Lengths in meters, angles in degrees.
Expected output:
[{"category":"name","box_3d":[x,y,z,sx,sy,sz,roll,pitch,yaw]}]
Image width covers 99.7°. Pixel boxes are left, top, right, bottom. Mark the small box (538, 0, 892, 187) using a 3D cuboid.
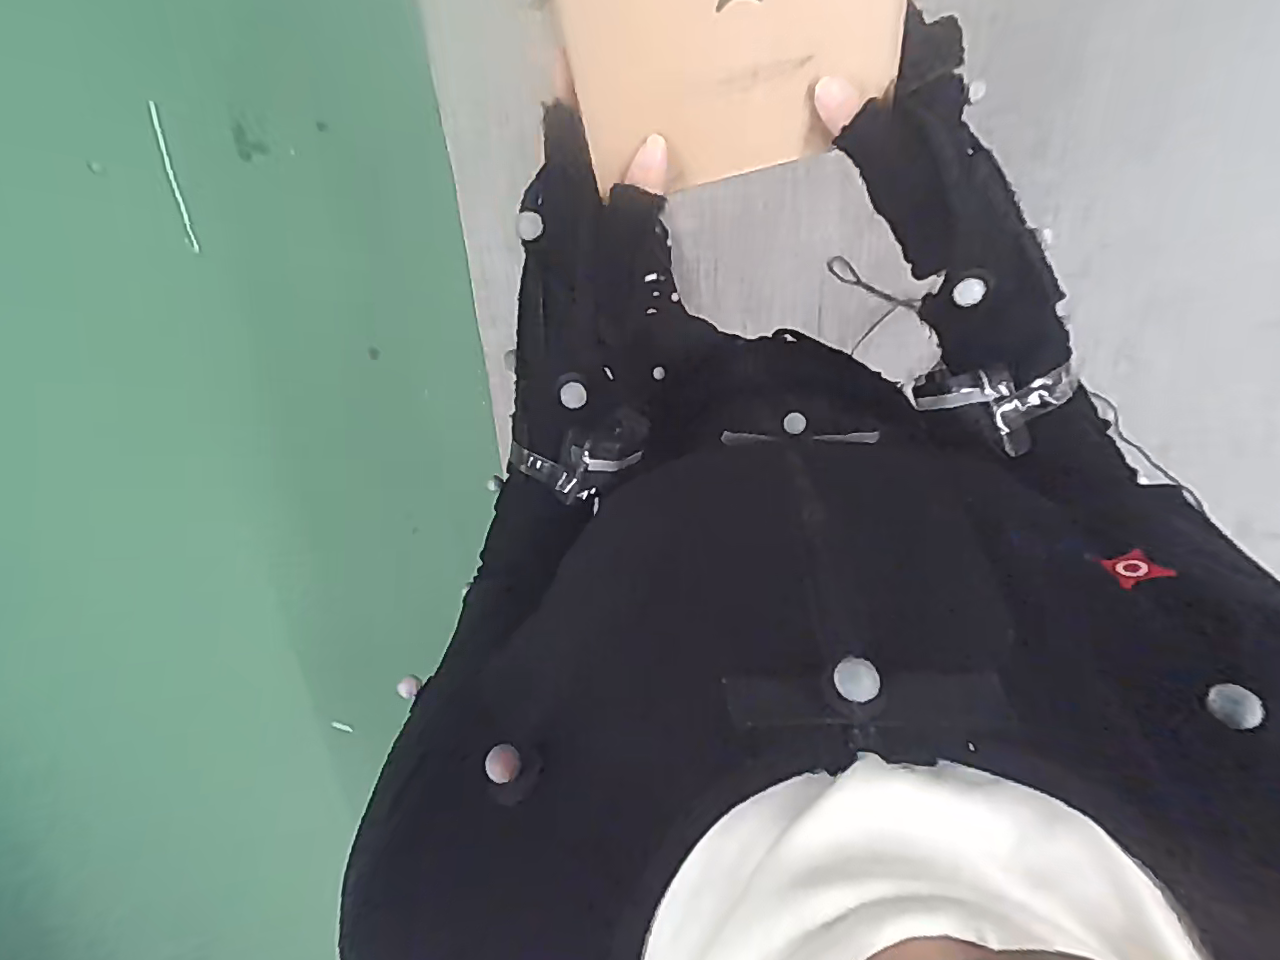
[{"category":"small box","box_3d":[0.024,-0.294,0.298,0.168,0.176,0.179,-14,135,0]}]
